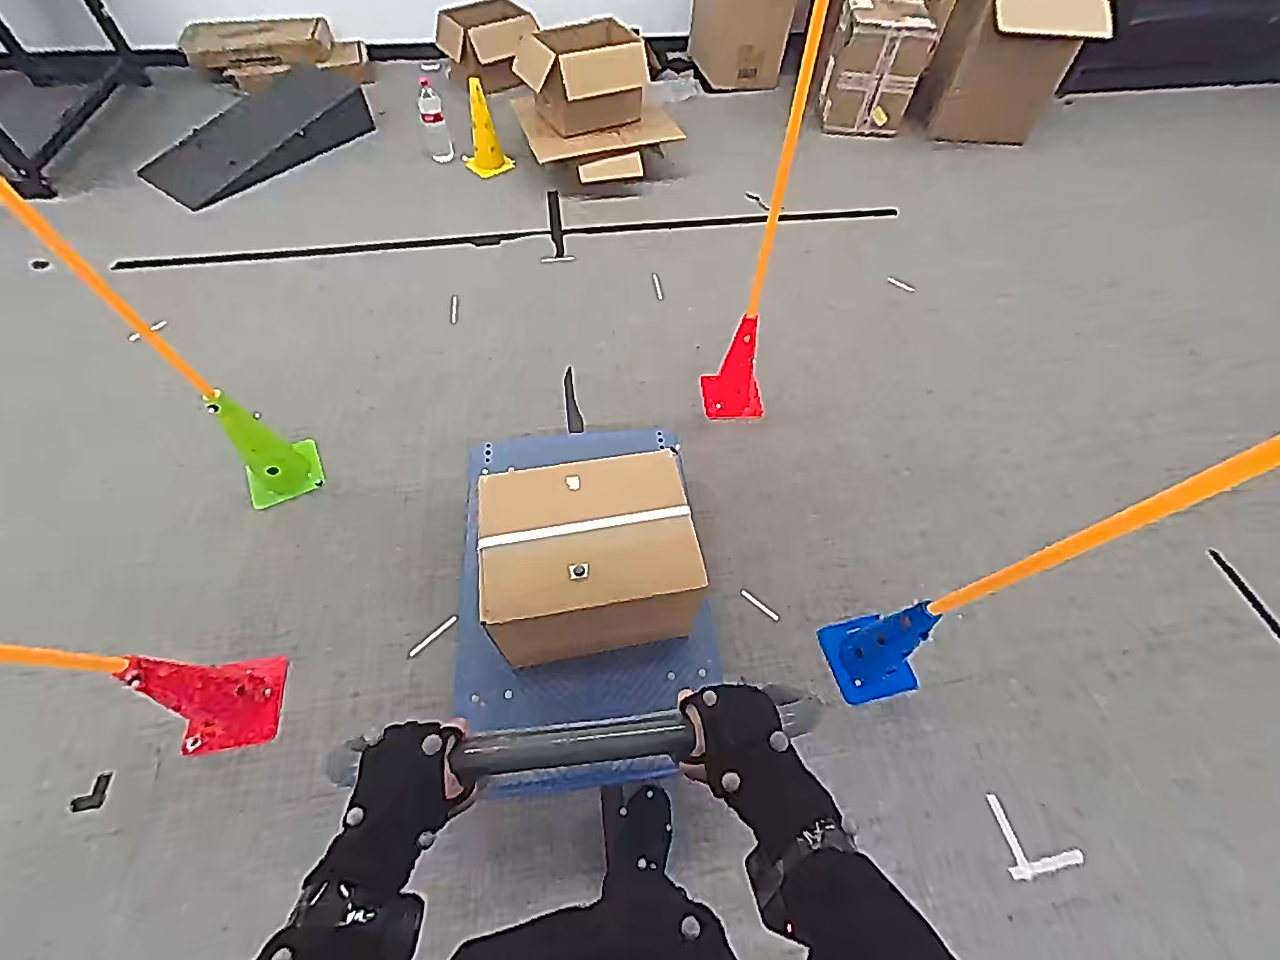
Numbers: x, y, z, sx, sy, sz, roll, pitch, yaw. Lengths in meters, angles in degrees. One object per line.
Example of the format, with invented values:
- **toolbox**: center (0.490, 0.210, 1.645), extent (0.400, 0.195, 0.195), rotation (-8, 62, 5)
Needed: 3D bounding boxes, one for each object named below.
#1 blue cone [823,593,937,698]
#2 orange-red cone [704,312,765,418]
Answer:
- **blue cone**: center (0.592, 0.361, 1.259), extent (0.193, 0.380, 0.192), rotation (-10, 57, -9)
- **orange-red cone**: center (0.329, -0.382, 1.717), extent (0.199, 0.360, 0.198), rotation (0, 57, -4)
